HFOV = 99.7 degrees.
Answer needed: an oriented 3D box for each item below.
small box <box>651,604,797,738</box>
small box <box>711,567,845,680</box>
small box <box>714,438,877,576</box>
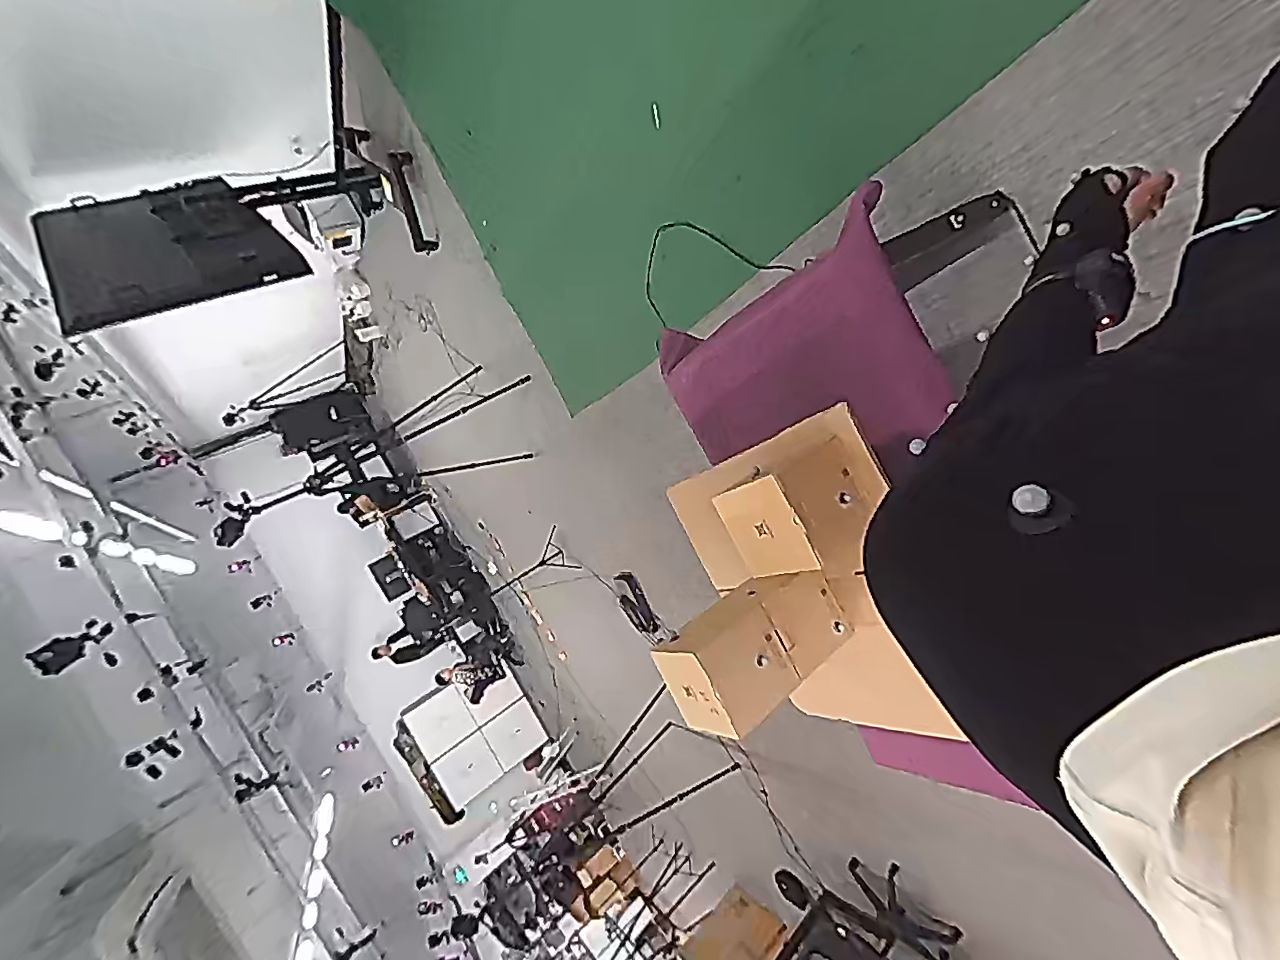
[{"bbox_3d":[0.156,0.347,1.012,0.168,0.176,0.179,62,149,1],"label":"small box"},{"bbox_3d":[0.284,0.281,1.092,0.168,0.176,0.179,63,150,2],"label":"small box"},{"bbox_3d":[0.268,0.048,0.938,0.168,0.176,0.179,62,149,1],"label":"small box"}]
